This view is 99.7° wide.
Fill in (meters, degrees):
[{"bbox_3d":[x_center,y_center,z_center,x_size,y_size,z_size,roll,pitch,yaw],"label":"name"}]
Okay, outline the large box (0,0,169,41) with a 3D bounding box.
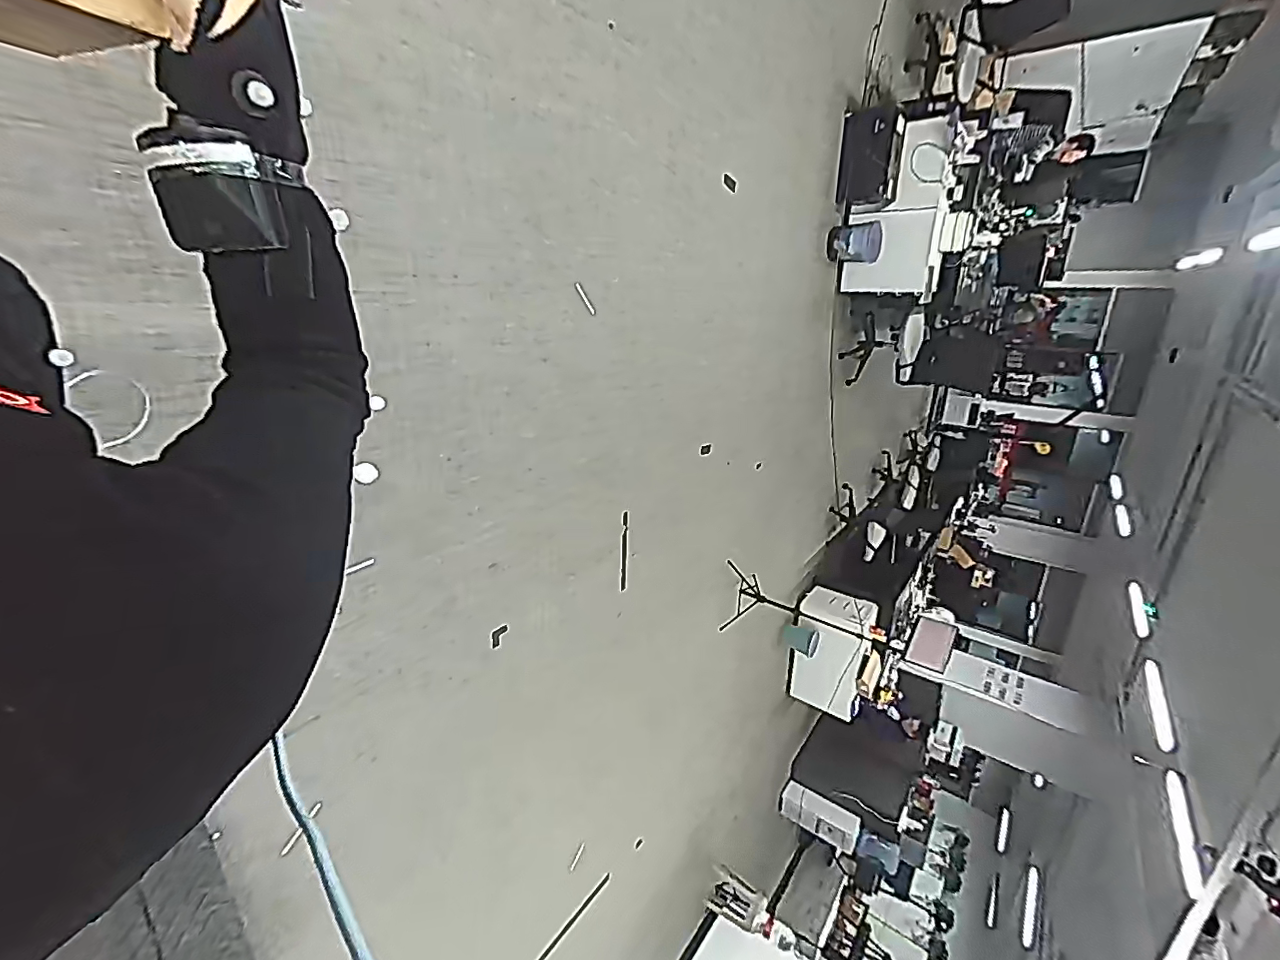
[{"bbox_3d":[-0.465,-0.409,0.167,0.408,0.320,0.320,-16,126,-52],"label":"large box"}]
